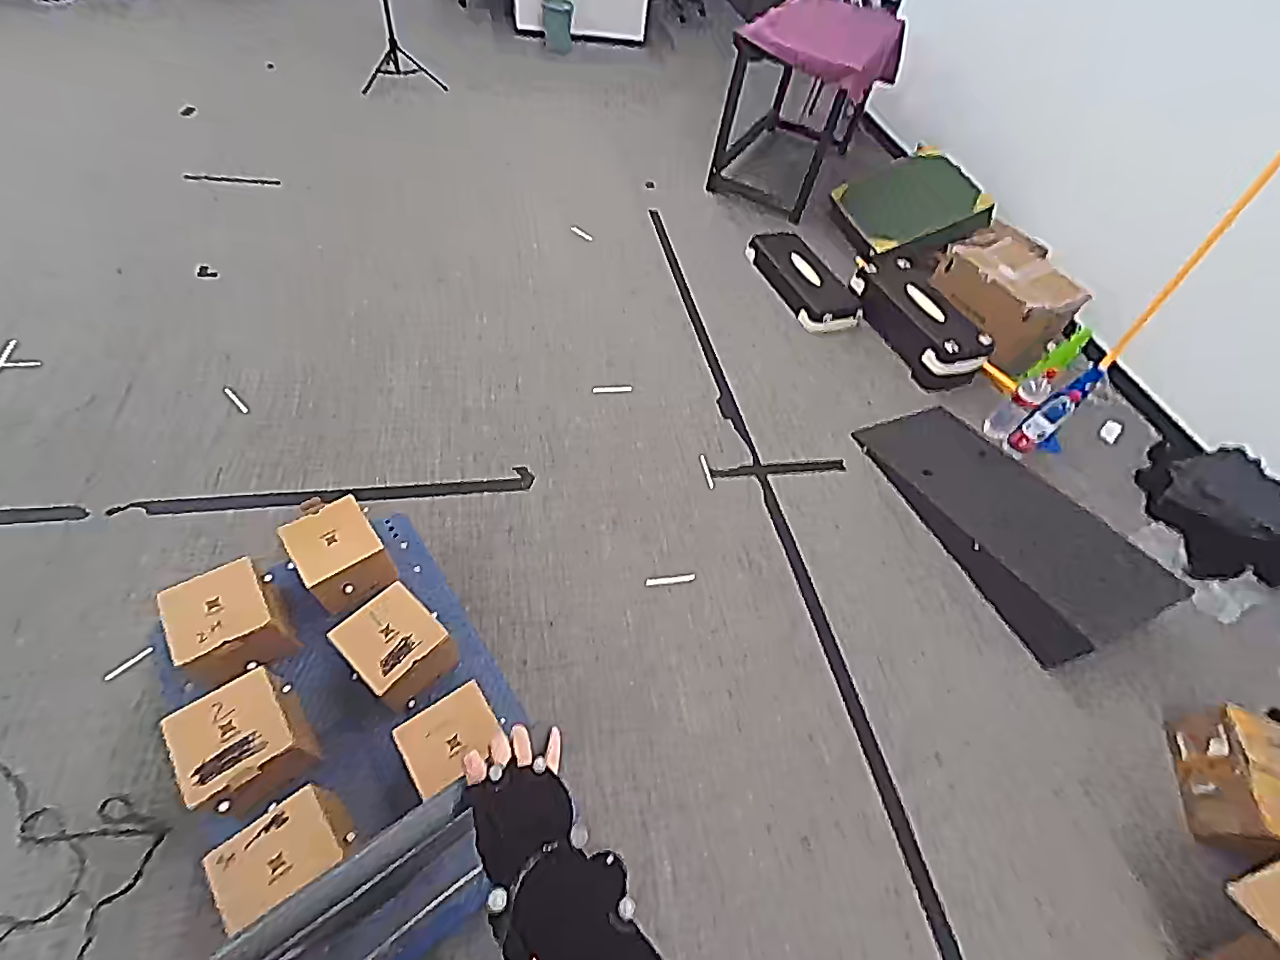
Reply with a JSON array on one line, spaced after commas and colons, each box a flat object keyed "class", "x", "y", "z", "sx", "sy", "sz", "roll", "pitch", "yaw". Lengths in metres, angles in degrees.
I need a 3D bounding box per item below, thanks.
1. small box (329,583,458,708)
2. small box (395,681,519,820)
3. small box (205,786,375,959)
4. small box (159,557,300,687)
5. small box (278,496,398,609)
[{"class": "small box", "x": -0.512, "y": 0.358, "z": 1.150, "sx": 0.179, "sy": 0.176, "sz": 0.168, "roll": 38, "pitch": 57, "yaw": 18}, {"class": "small box", "x": -0.348, "y": 0.532, "z": 1.055, "sx": 0.168, "sy": 0.176, "sz": 0.179, "roll": -27, "pitch": 62, "yaw": -27}, {"class": "small box", "x": -0.579, "y": 0.660, "z": 0.918, "sx": 0.168, "sy": 0.176, "sz": 0.179, "roll": -31, "pitch": 65, "yaw": -29}, {"class": "small box", "x": -0.849, "y": 0.299, "z": 1.131, "sx": 0.168, "sy": 0.176, "sz": 0.179, "roll": -27, "pitch": 64, "yaw": -26}, {"class": "small box", "x": -0.689, "y": 0.176, "z": 1.252, "sx": 0.168, "sy": 0.176, "sz": 0.179, "roll": -31, "pitch": 65, "yaw": -28}]
